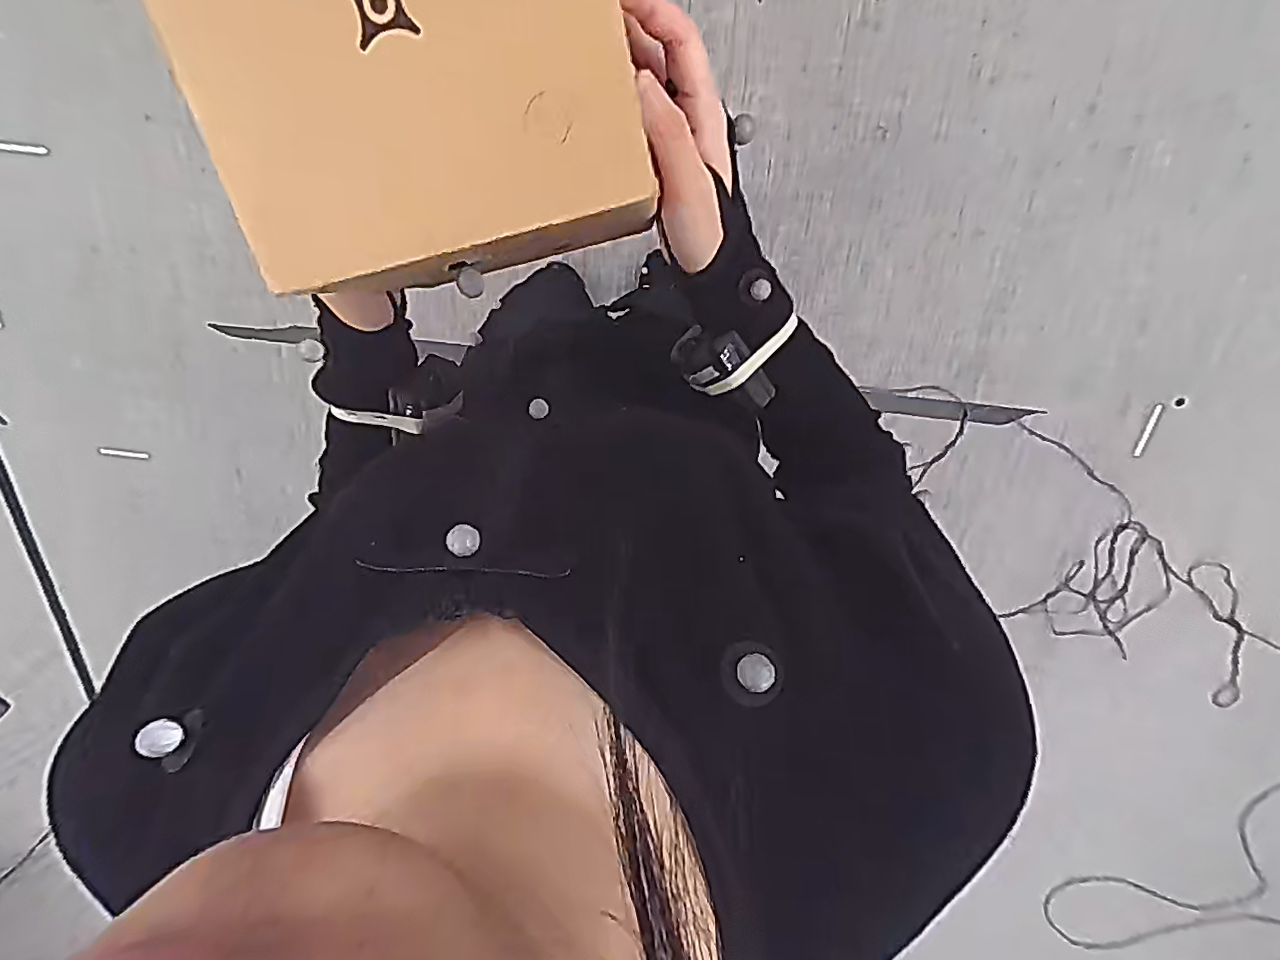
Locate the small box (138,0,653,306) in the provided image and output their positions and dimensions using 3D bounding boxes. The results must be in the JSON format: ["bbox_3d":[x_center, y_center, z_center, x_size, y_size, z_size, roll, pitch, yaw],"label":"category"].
[{"bbox_3d":[-0.089,-0.195,0.263,0.168,0.176,0.179,-12,109,6],"label":"small box"}]

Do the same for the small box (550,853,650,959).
[{"bbox_3d":[-0.073,0.854,1.021,0.168,0.176,0.179,8,112,1],"label":"small box"}]
